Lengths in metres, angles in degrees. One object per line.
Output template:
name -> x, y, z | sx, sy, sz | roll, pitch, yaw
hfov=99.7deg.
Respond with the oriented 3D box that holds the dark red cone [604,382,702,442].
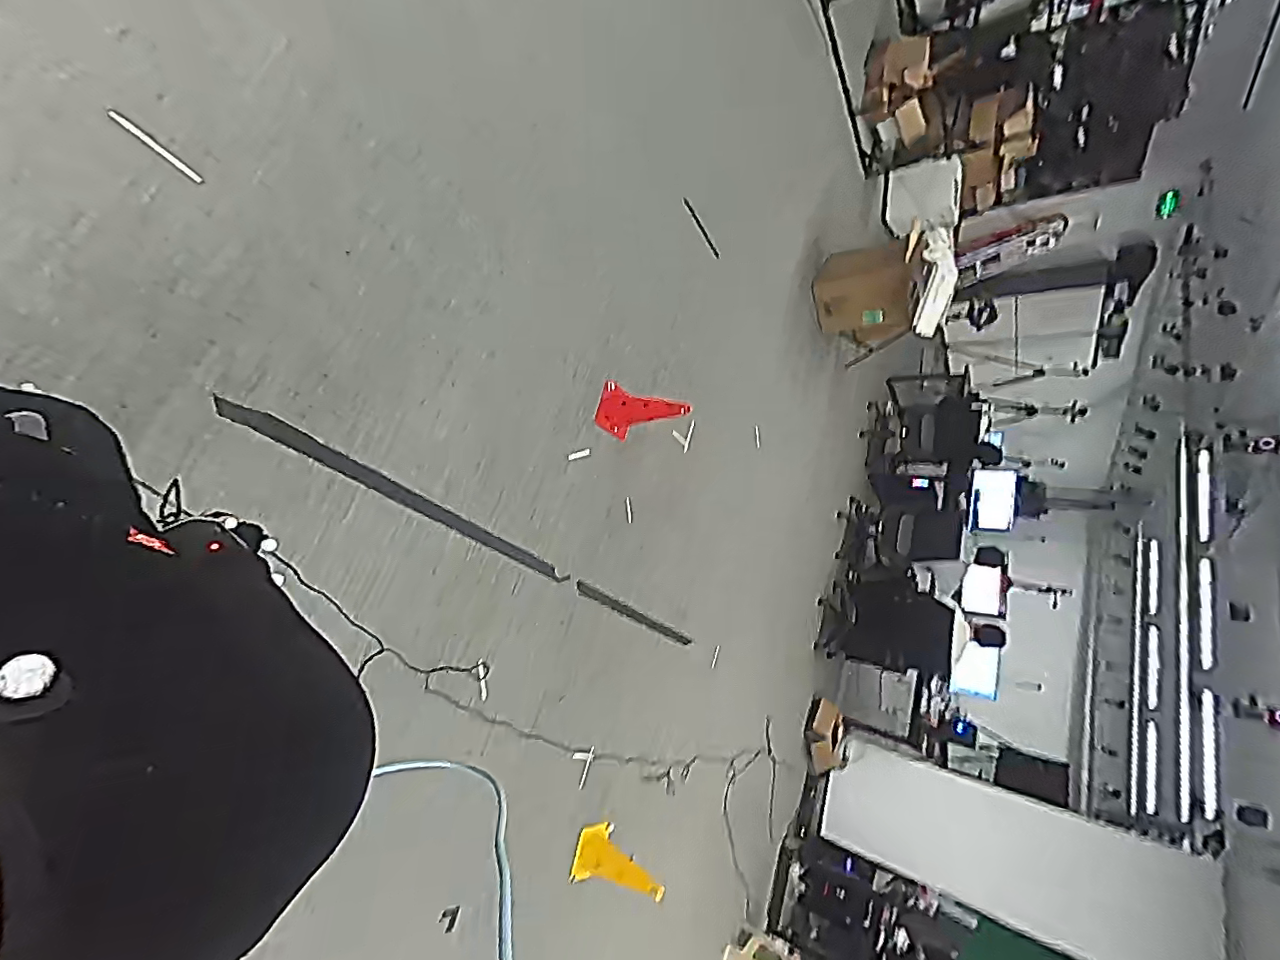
dark red cone -> 0.061, -0.259, 2.091 | 0.202, 0.394, 0.201 | 31, 71, -51
